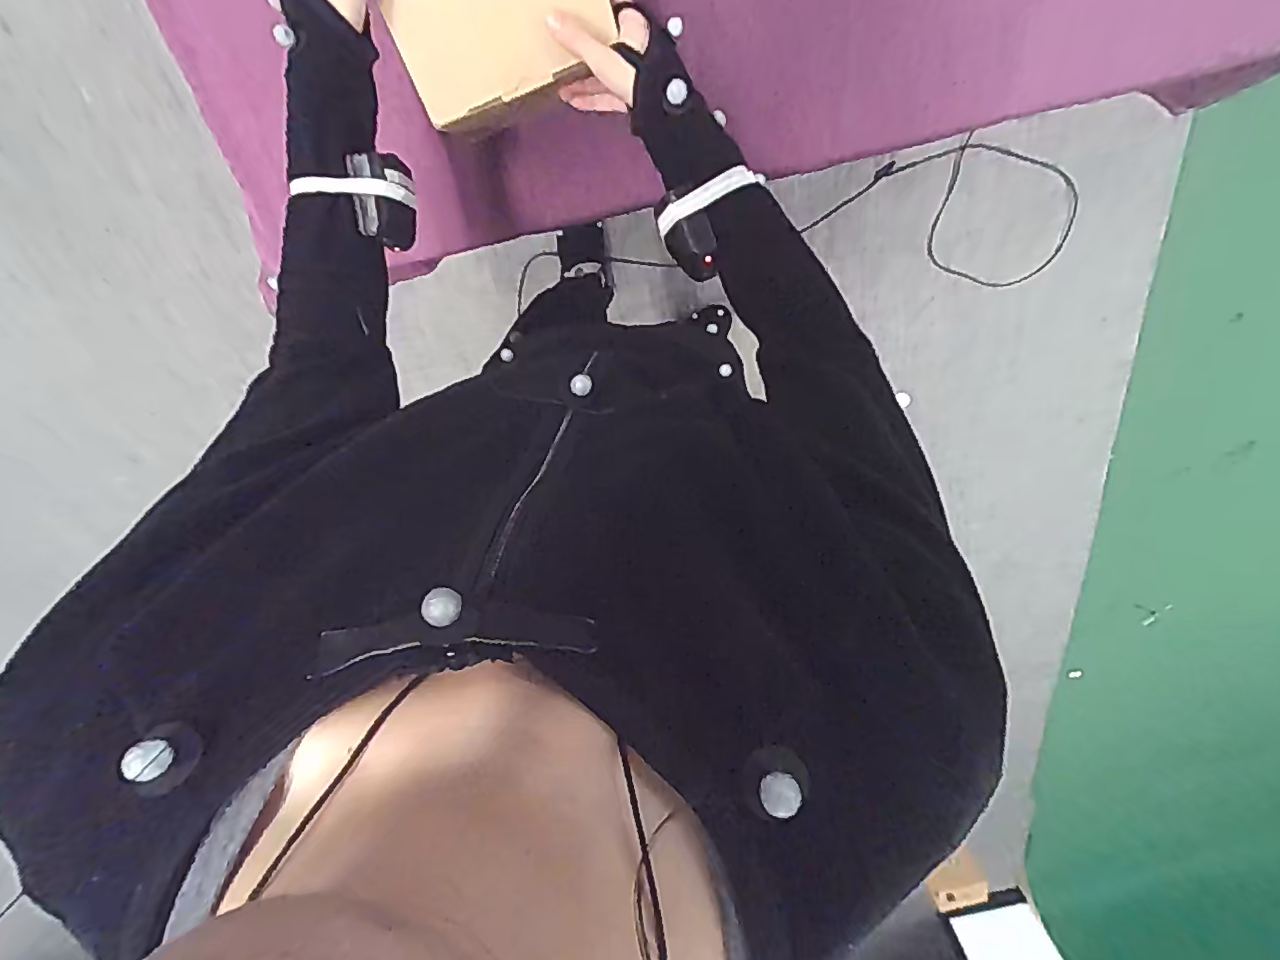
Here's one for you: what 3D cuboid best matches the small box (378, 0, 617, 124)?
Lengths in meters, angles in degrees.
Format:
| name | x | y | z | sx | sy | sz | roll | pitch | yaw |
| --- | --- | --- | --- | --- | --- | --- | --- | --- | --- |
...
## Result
| name | x | y | z | sx | sy | sz | roll | pitch | yaw |
| --- | --- | --- | --- | --- | --- | --- | --- | --- | --- |
| small box | -0.125 | -0.424 | 0.456 | 0.168 | 0.176 | 0.179 | -19 | 120 | 4 |

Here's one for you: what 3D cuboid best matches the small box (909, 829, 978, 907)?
| name | x | y | z | sx | sy | sz | roll | pitch | yaw |
| --- | --- | --- | --- | --- | --- | --- | --- | --- | --- |
| small box | 1.124 | 1.444 | 2.016 | 0.179 | 0.176 | 0.168 | -17 | 119 | 3 |
